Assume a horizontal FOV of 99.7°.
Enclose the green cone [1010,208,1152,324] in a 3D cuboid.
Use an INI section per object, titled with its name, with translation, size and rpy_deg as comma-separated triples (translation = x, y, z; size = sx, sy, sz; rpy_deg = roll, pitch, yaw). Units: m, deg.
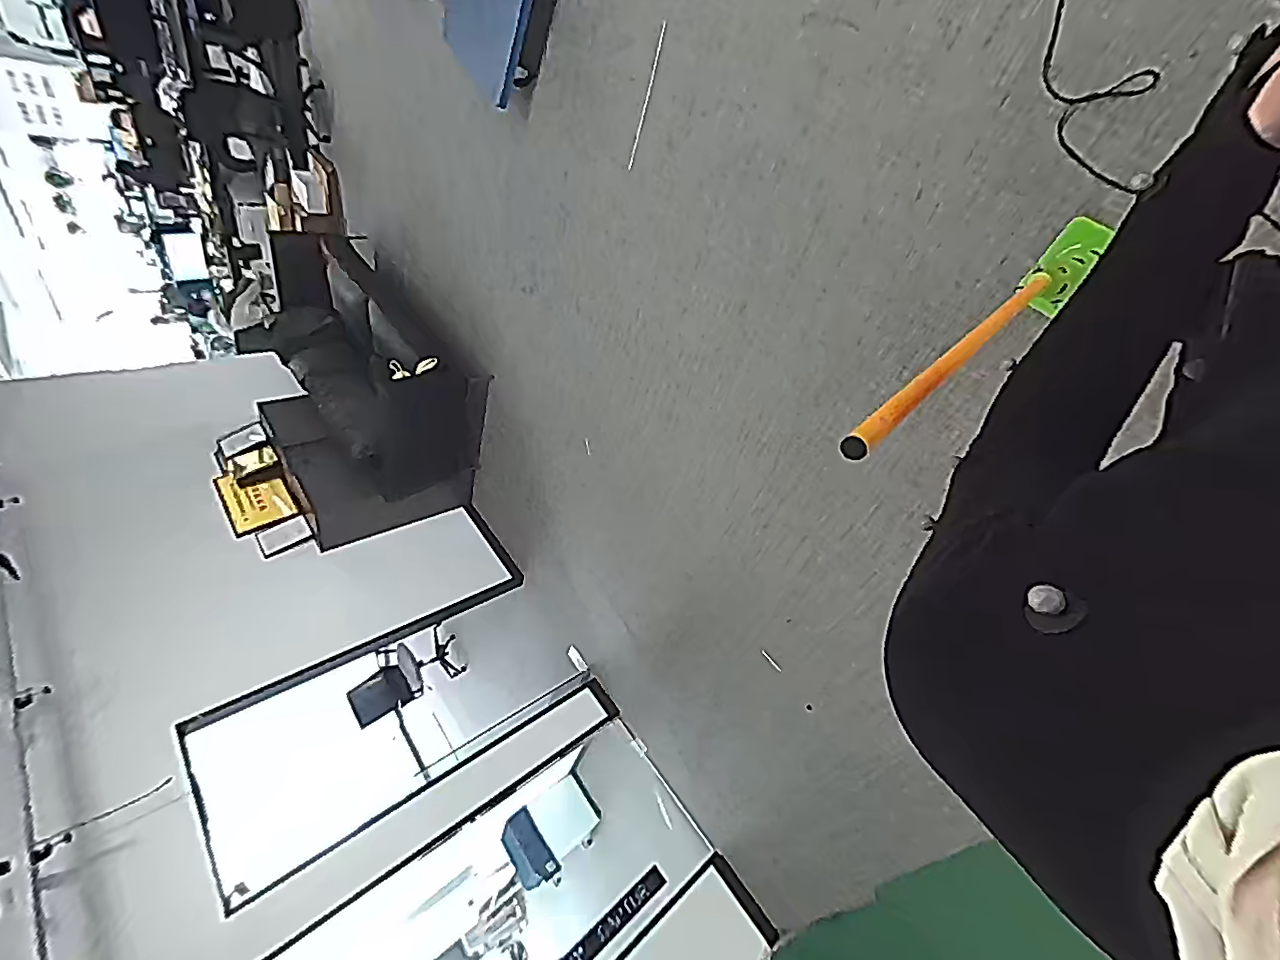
[green cone]
translation = 0.882, -0.443, 1.136
size = 0.200, 0.368, 0.202
rpy_deg = 47, 135, 24
